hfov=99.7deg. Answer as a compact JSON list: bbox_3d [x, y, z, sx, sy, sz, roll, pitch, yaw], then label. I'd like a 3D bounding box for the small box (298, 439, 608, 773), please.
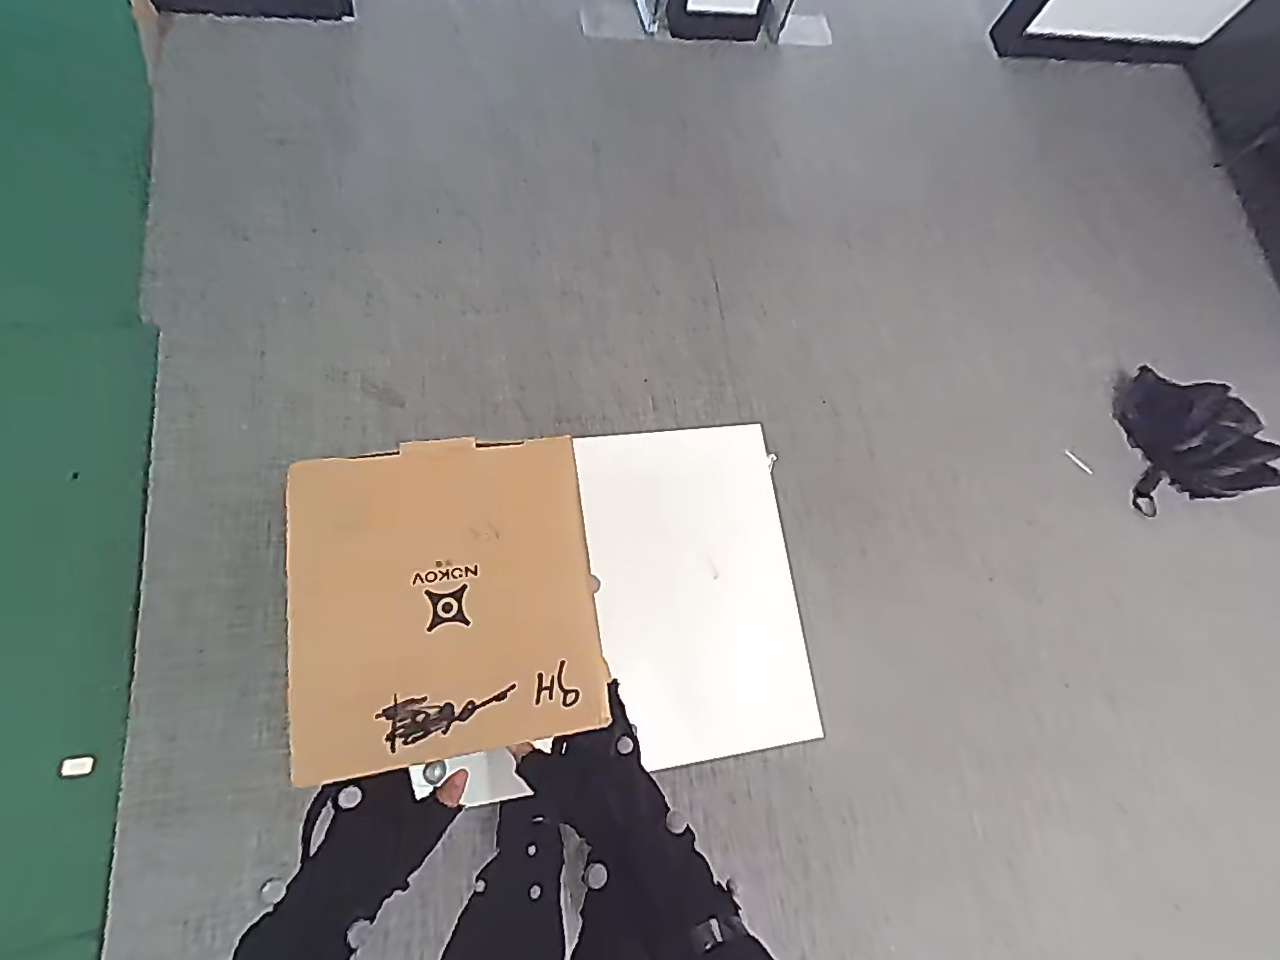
[{"bbox_3d":[-0.123,0.086,0.393,0.168,0.176,0.179,-7,75,-11],"label":"small box"}]
